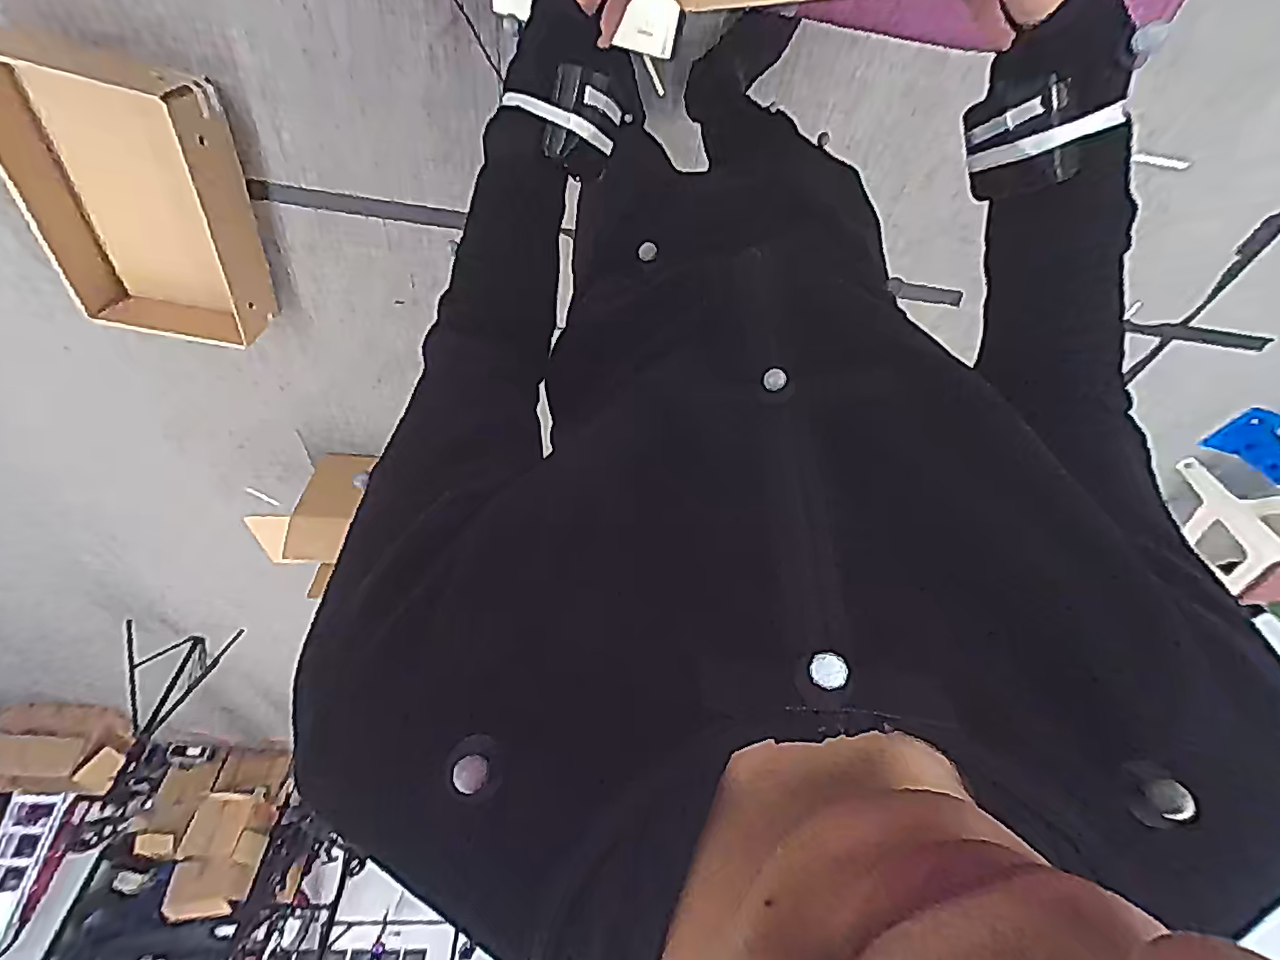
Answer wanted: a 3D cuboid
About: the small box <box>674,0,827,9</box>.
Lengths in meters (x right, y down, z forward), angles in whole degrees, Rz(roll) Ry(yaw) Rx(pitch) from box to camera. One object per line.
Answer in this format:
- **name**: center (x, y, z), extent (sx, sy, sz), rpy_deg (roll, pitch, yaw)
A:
- **small box**: center (0.082, -0.366, 0.272), extent (0.179, 0.176, 0.168), rpy_deg (-12, 143, -7)
